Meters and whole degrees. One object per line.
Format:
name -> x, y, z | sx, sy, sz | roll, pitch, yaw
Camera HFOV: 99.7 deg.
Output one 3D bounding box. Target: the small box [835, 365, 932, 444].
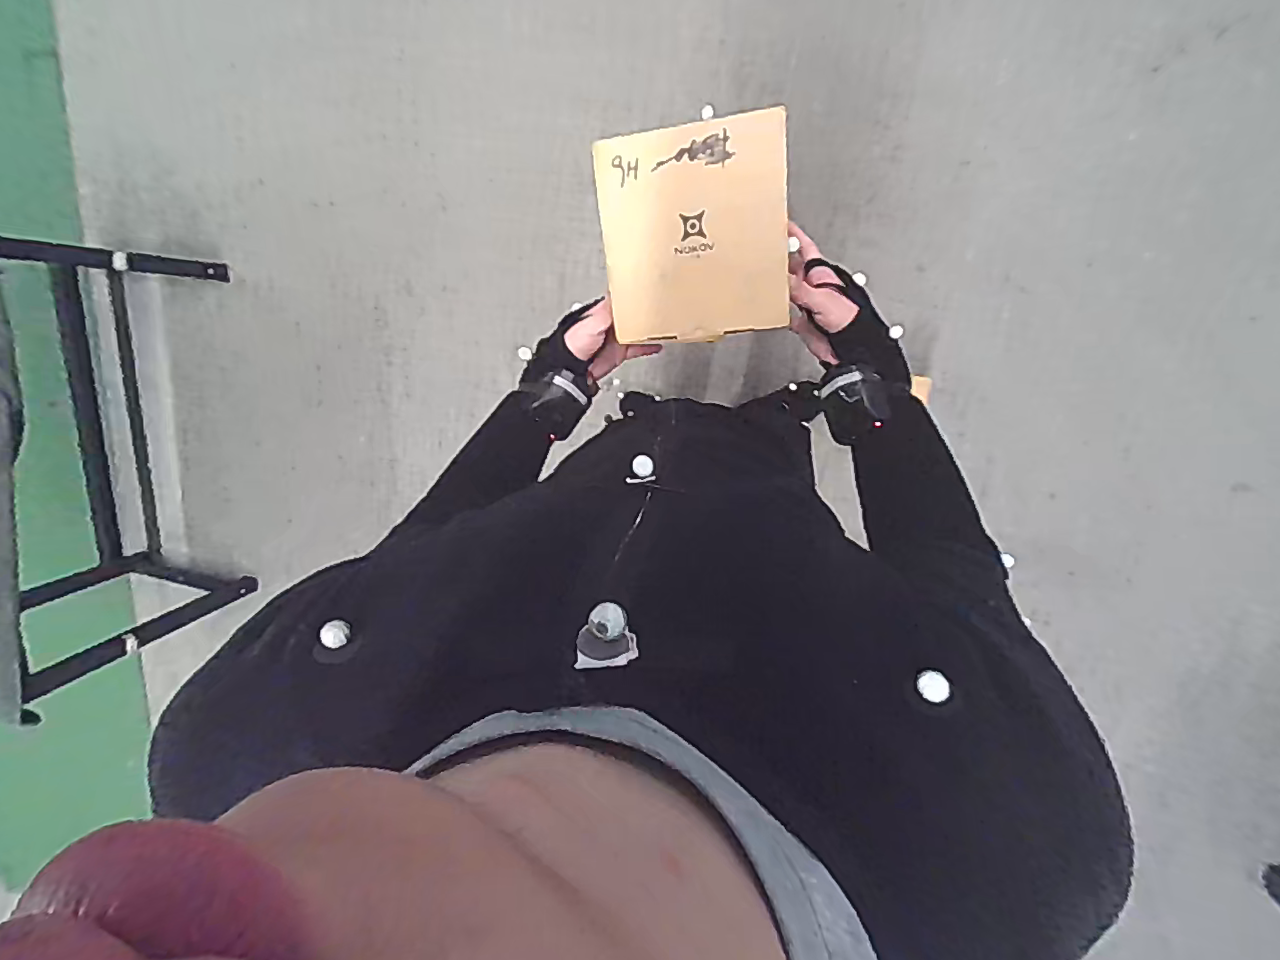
small box -> 0.589, -0.192, 1.327 | 0.179, 0.176, 0.168 | 7, 106, 14
